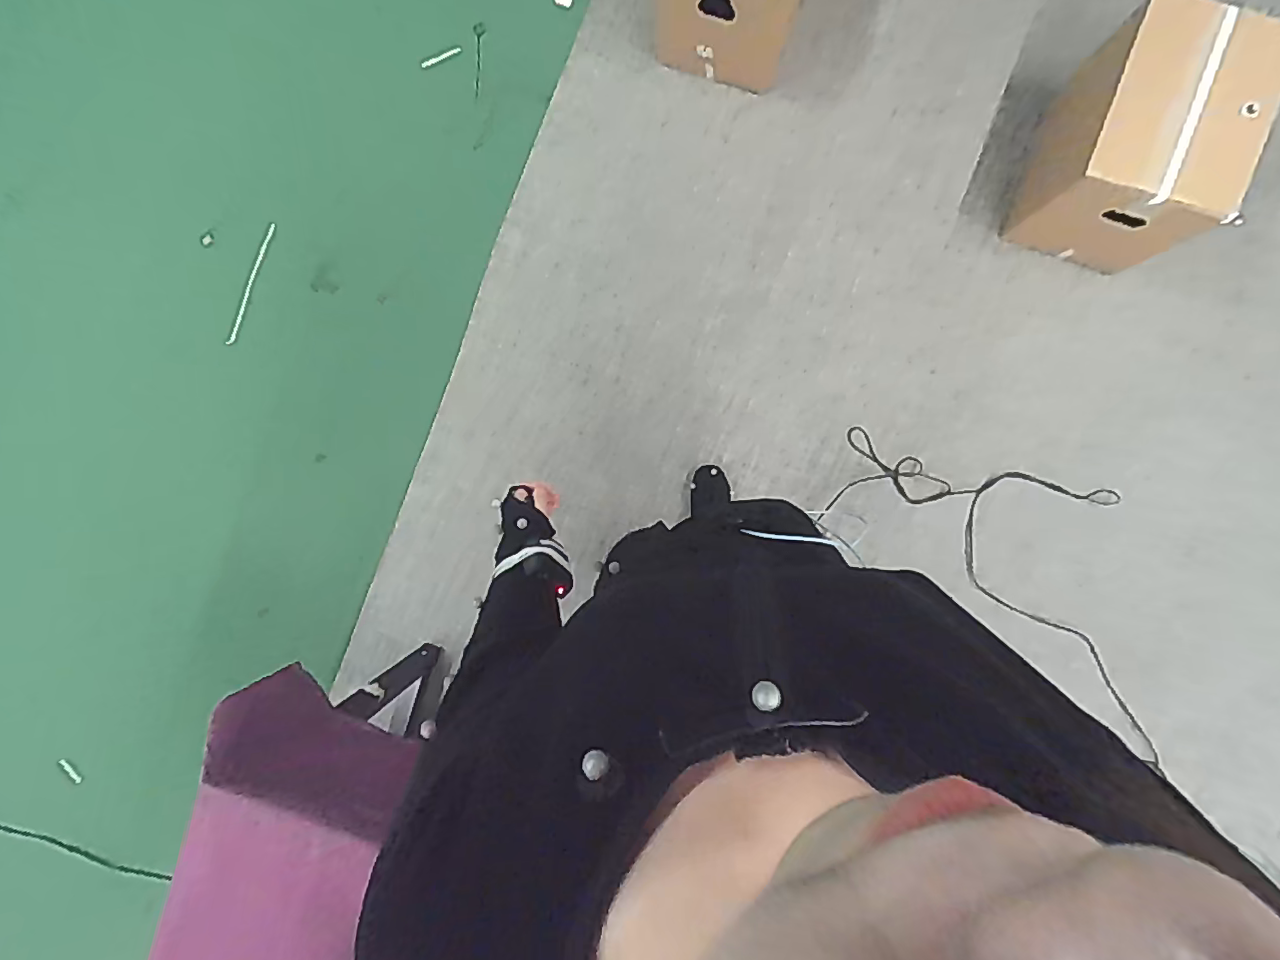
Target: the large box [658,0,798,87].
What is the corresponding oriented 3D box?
[{"bbox_3d":[0.248,-1.279,1.306,0.320,0.320,0.408,20,92,4],"label":"large box"}]
